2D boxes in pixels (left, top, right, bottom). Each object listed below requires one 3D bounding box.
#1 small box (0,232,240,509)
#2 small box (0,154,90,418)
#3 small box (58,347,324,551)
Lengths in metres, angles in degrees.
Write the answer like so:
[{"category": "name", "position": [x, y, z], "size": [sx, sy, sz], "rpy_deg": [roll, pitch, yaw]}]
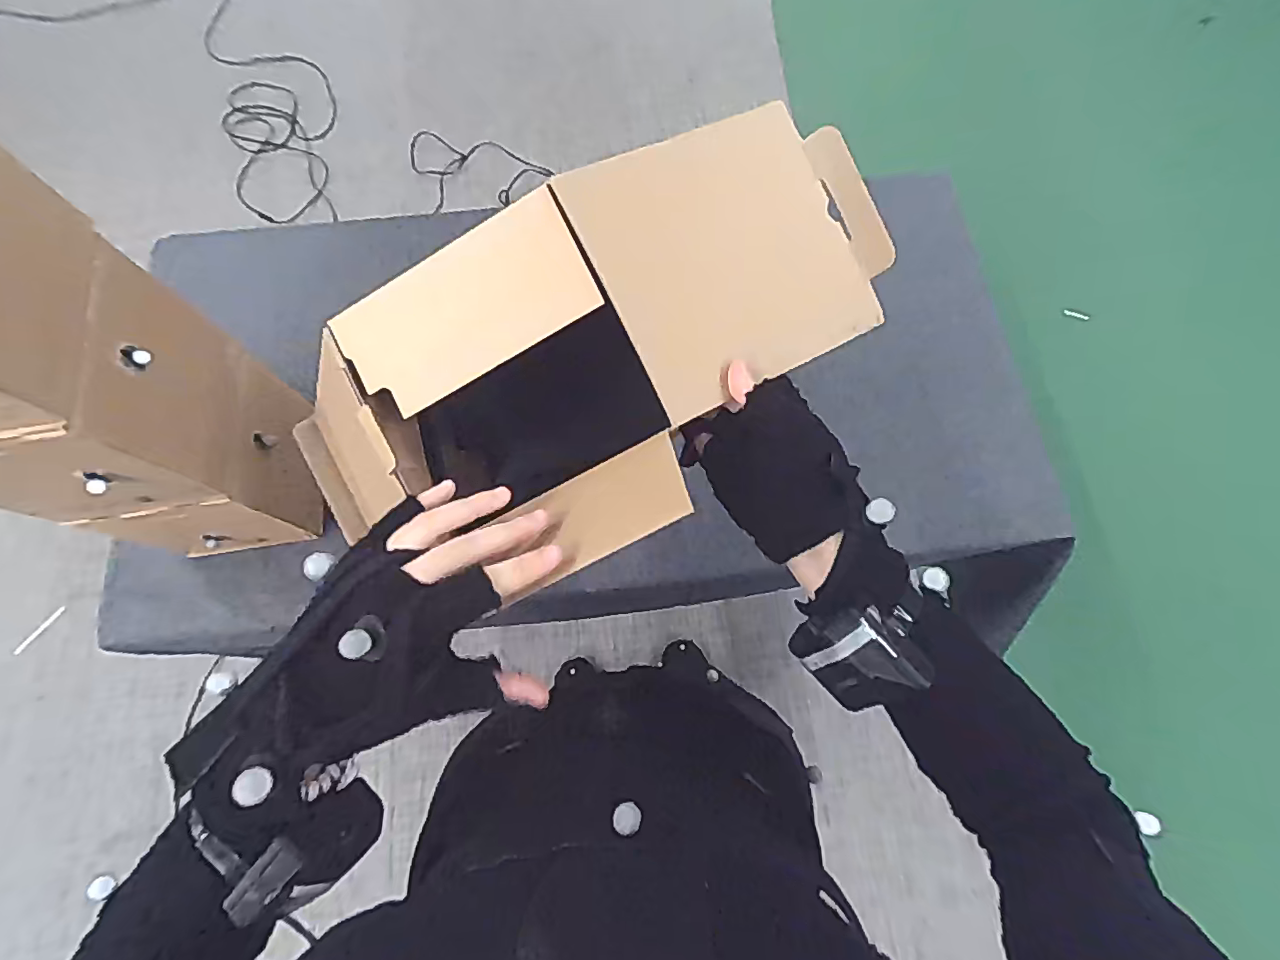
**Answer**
[{"category": "small box", "position": [-0.491, -0.079, 0.473], "size": [0.168, 0.176, 0.179], "rpy_deg": [-8, 72, -4]}, {"category": "small box", "position": [-0.490, -0.137, 0.319], "size": [0.168, 0.176, 0.179], "rpy_deg": [-10, 72, -5]}, {"category": "small box", "position": [-0.494, -0.027, 0.627], "size": [0.168, 0.176, 0.179], "rpy_deg": [-9, 73, -4]}]
